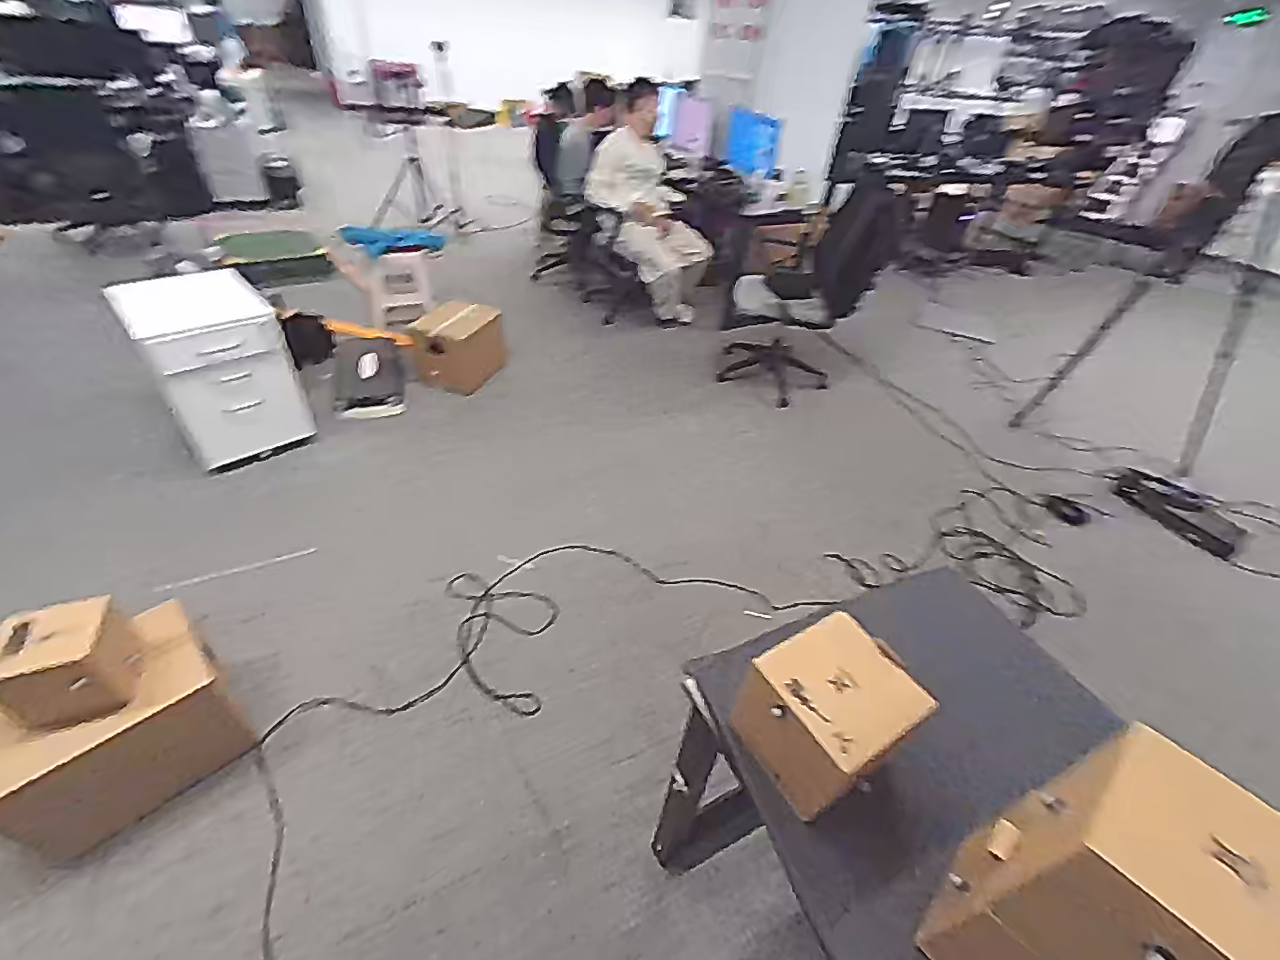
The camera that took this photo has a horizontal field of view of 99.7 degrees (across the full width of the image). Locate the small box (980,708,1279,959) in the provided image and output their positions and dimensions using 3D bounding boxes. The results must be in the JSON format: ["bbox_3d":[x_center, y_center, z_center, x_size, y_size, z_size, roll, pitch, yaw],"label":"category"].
[{"bbox_3d":[0.453,0.355,0.485,0.168,0.176,0.179,-26,49,-32],"label":"small box"}]

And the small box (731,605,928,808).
[{"bbox_3d":[0.253,0.315,0.762,0.179,0.176,0.168,-18,46,-27],"label":"small box"}]

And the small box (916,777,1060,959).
[{"bbox_3d":[0.441,0.481,0.591,0.168,0.176,0.179,-28,51,-34],"label":"small box"}]
